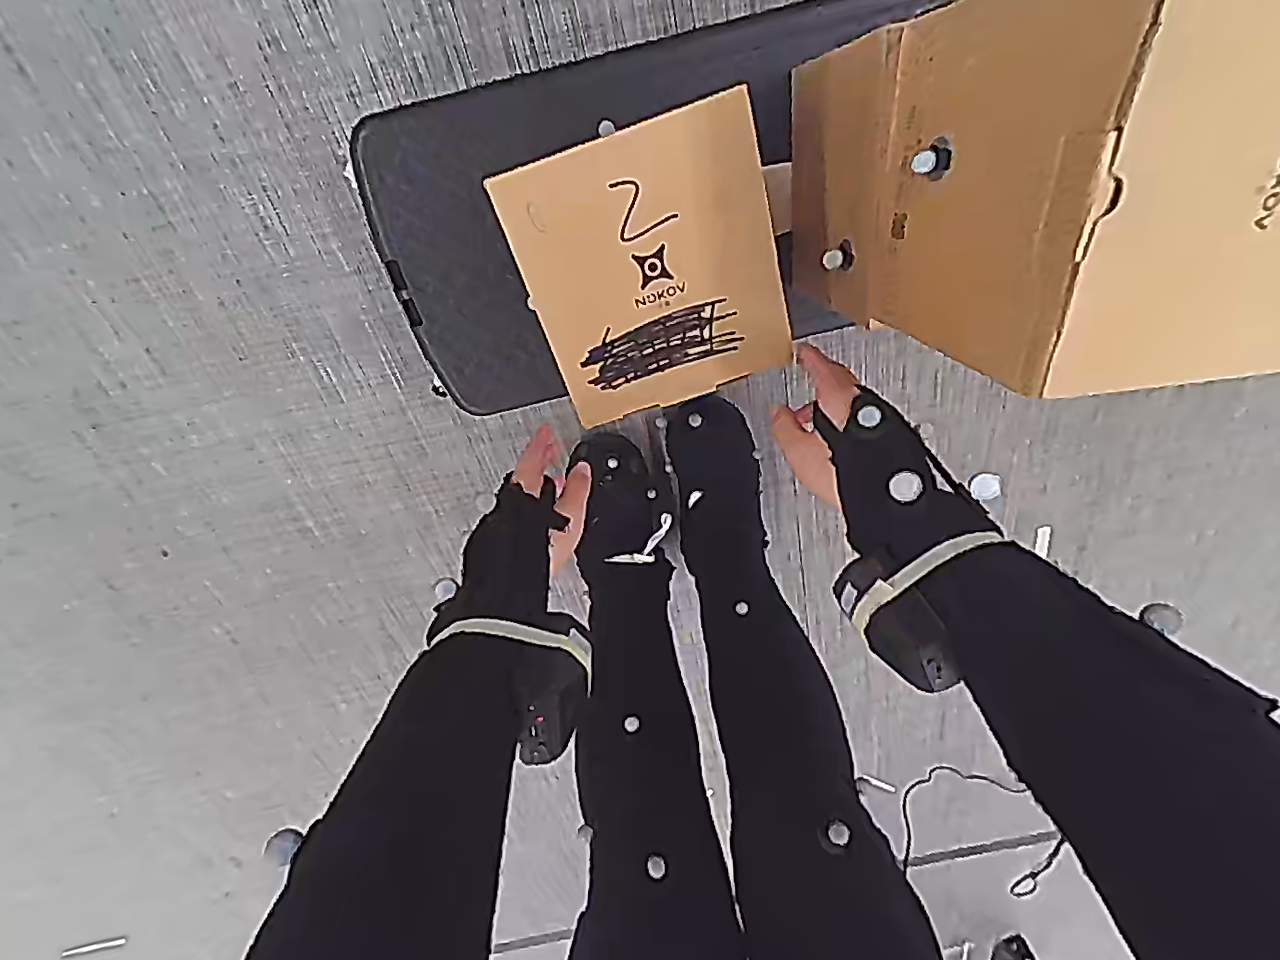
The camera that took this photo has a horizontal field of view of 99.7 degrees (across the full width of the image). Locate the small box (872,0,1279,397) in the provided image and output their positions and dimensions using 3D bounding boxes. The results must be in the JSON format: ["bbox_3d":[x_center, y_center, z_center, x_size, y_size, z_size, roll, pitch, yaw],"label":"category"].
[{"bbox_3d":[0.247,-0.157,0.273,0.179,0.176,0.168,-7,121,-1],"label":"small box"}]

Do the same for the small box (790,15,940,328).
[{"bbox_3d":[0.222,-0.234,0.414,0.168,0.176,0.179,-10,120,0],"label":"small box"}]
